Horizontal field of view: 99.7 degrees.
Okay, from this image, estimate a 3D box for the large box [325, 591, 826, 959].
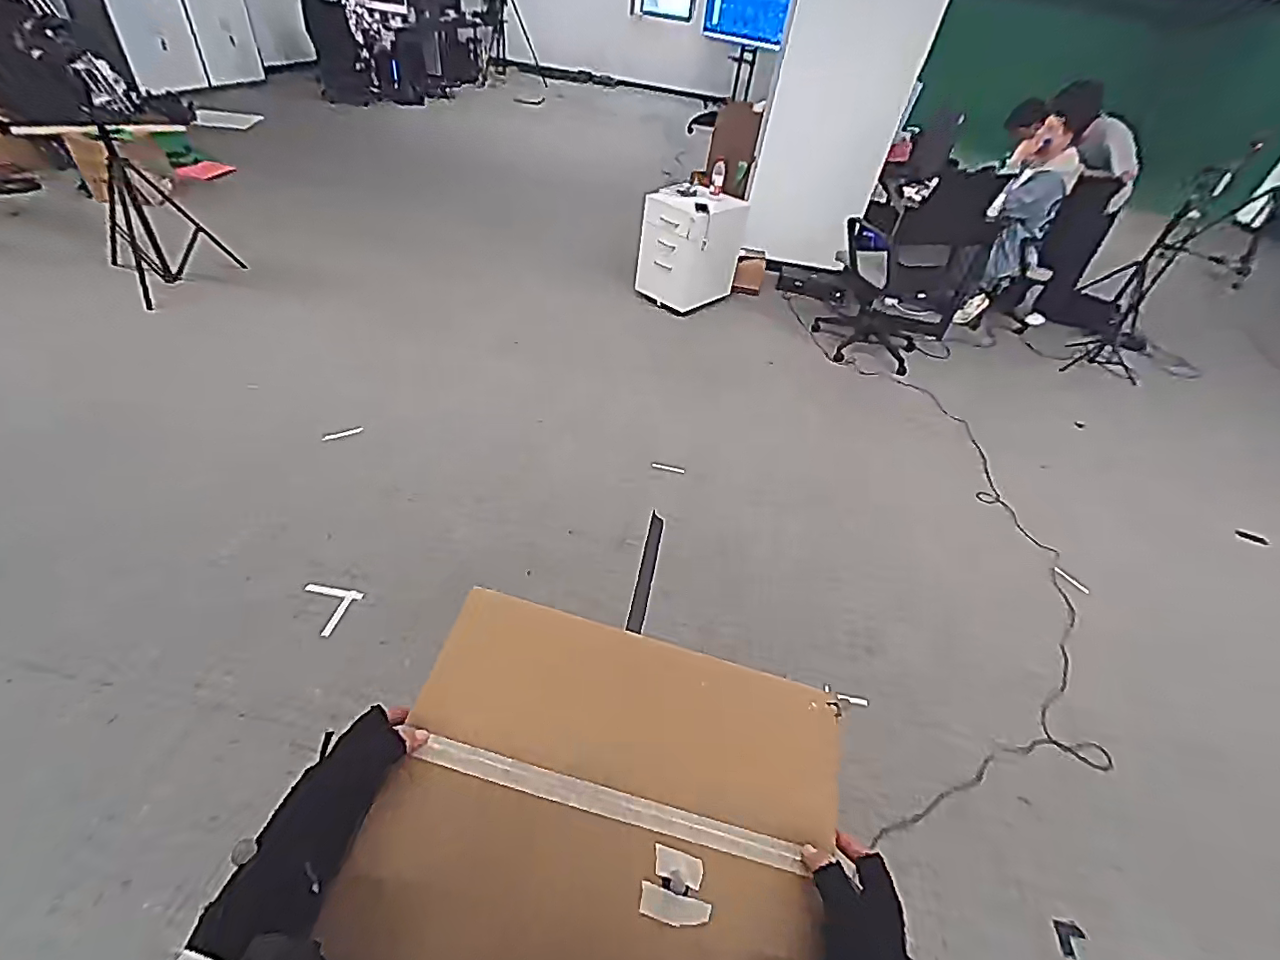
[{"bbox_3d":[-0.046,0.375,0.618,0.408,0.320,0.320,16,53,1],"label":"large box"}]
